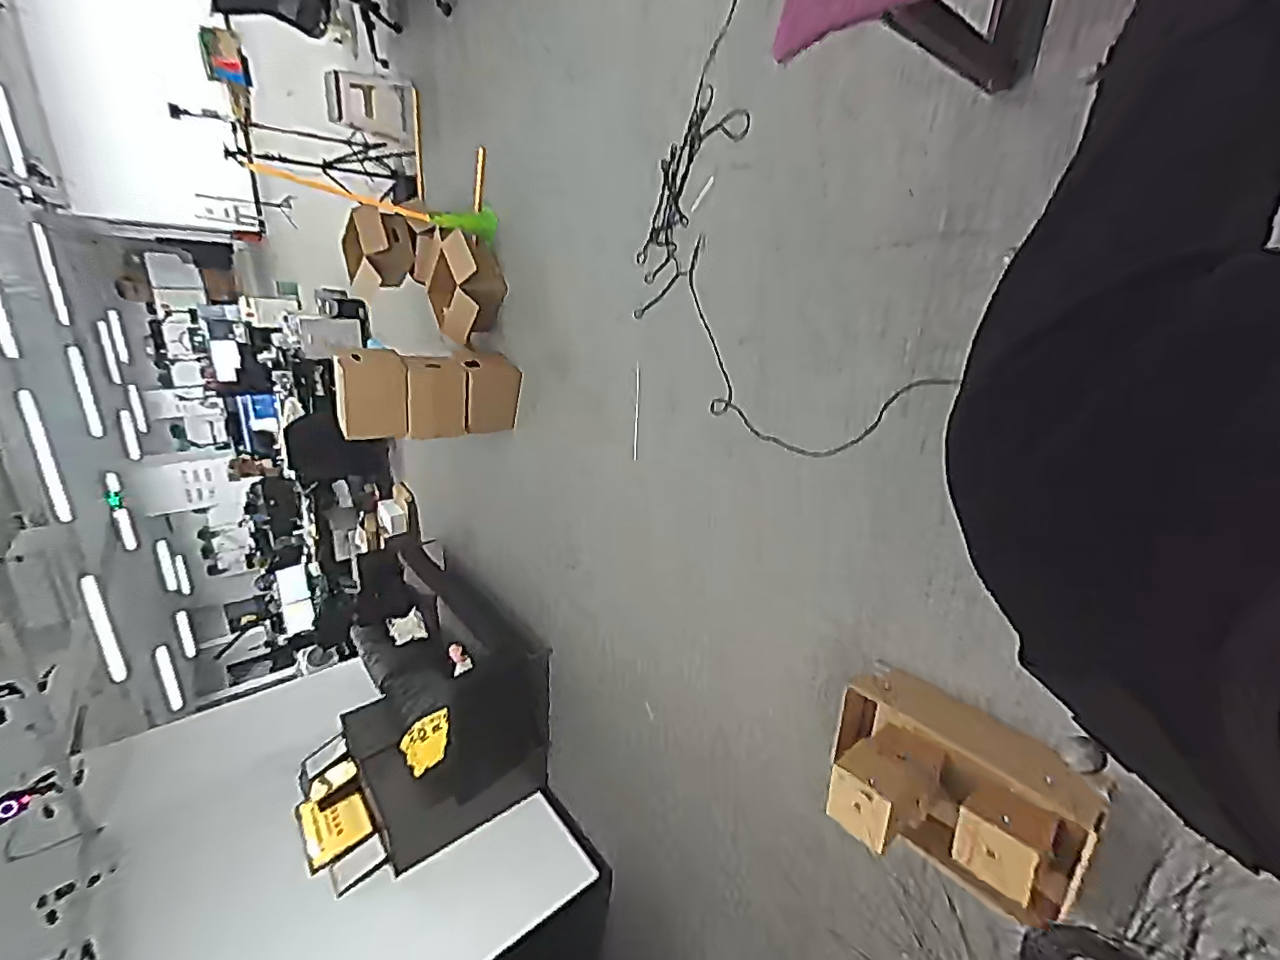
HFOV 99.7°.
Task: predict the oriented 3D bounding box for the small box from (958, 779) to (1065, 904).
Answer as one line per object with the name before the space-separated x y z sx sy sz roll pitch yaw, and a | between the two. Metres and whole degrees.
small box | 0.956 0.915 1.389 0.179 0.176 0.168 18 113 50

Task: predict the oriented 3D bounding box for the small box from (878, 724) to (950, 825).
small box | 0.785 0.854 1.591 0.179 0.176 0.168 14 110 49

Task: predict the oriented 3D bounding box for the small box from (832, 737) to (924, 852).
small box | 0.655 0.856 1.489 0.168 0.176 0.179 20 115 47
